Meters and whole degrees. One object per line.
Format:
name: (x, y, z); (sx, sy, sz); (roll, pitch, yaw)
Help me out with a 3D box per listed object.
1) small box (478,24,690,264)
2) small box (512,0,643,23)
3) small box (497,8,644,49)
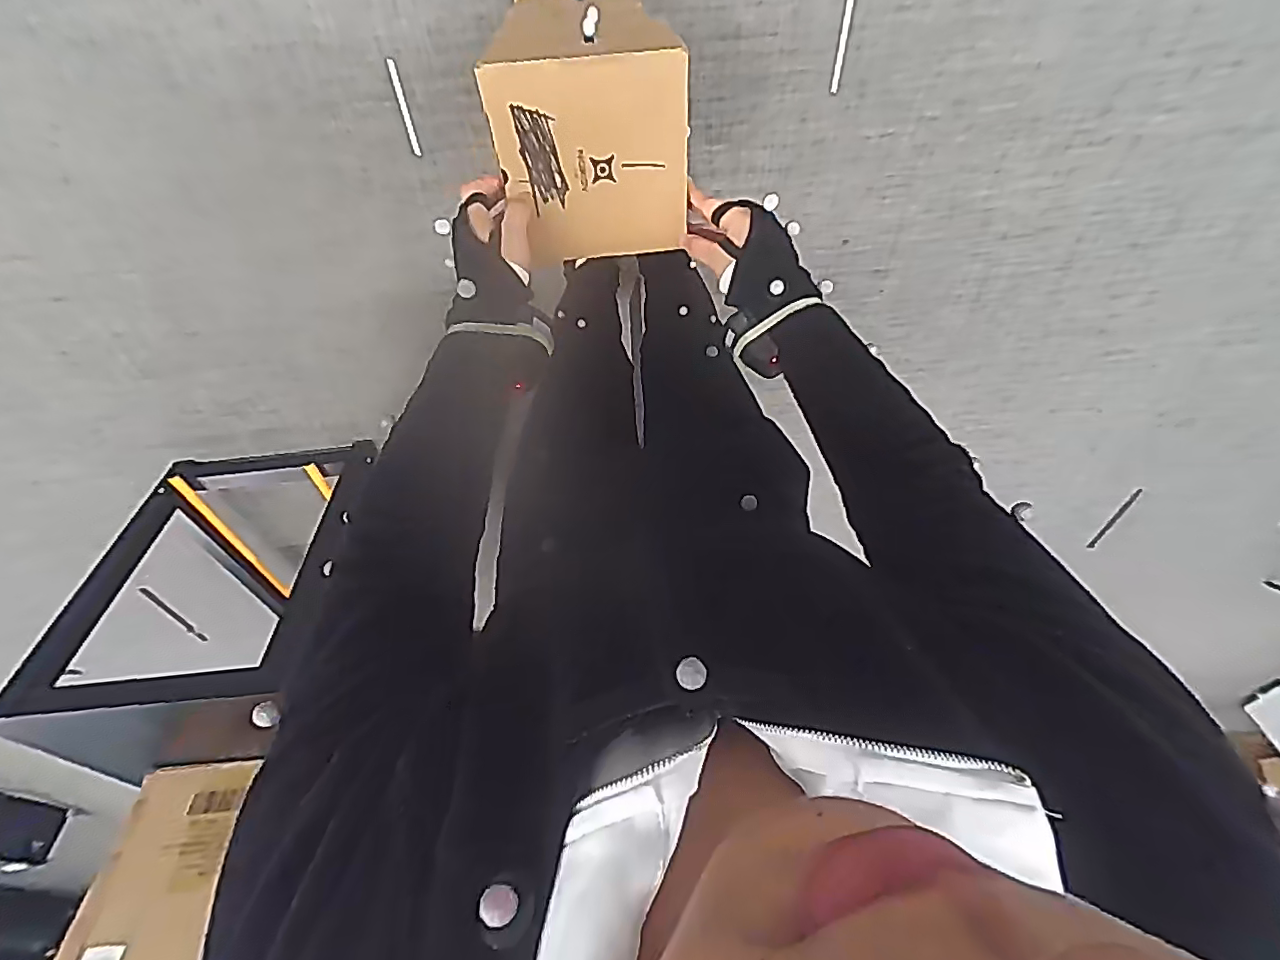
small box: (-0.047, -0.340, 0.548); (0.179, 0.176, 0.168); (-6, 137, -1)
small box: (-0.082, -0.572, 0.778); (0.168, 0.176, 0.179); (-4, 137, -1)
small box: (-0.068, -0.453, 0.667); (0.168, 0.176, 0.179); (-5, 137, -2)
